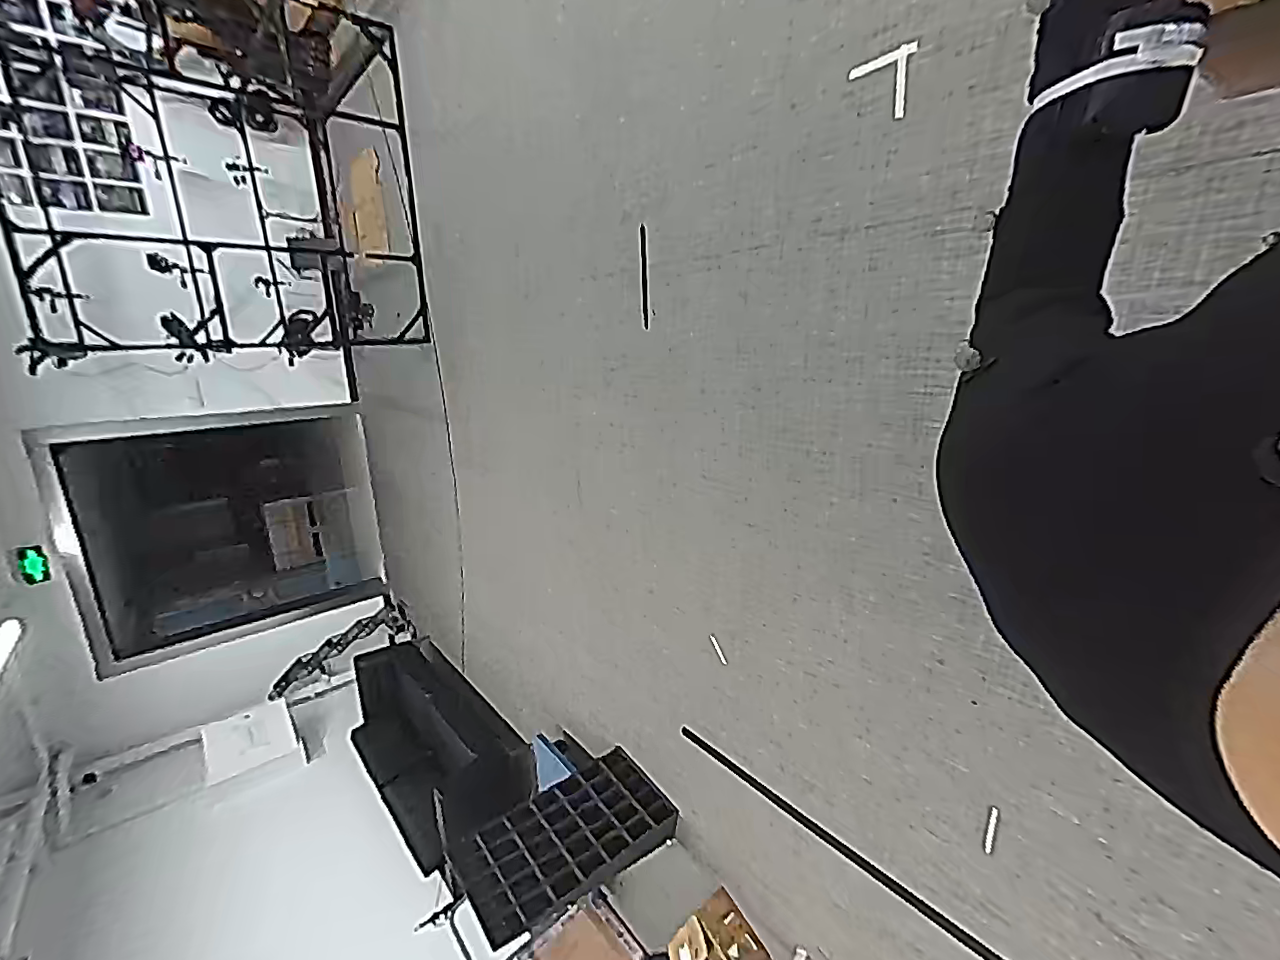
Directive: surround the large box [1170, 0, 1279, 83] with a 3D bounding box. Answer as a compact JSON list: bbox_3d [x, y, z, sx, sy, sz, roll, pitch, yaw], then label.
[{"bbox_3d":[0.562,-0.463,0.251,0.408,0.320,0.320,12,116,49],"label":"large box"}]
